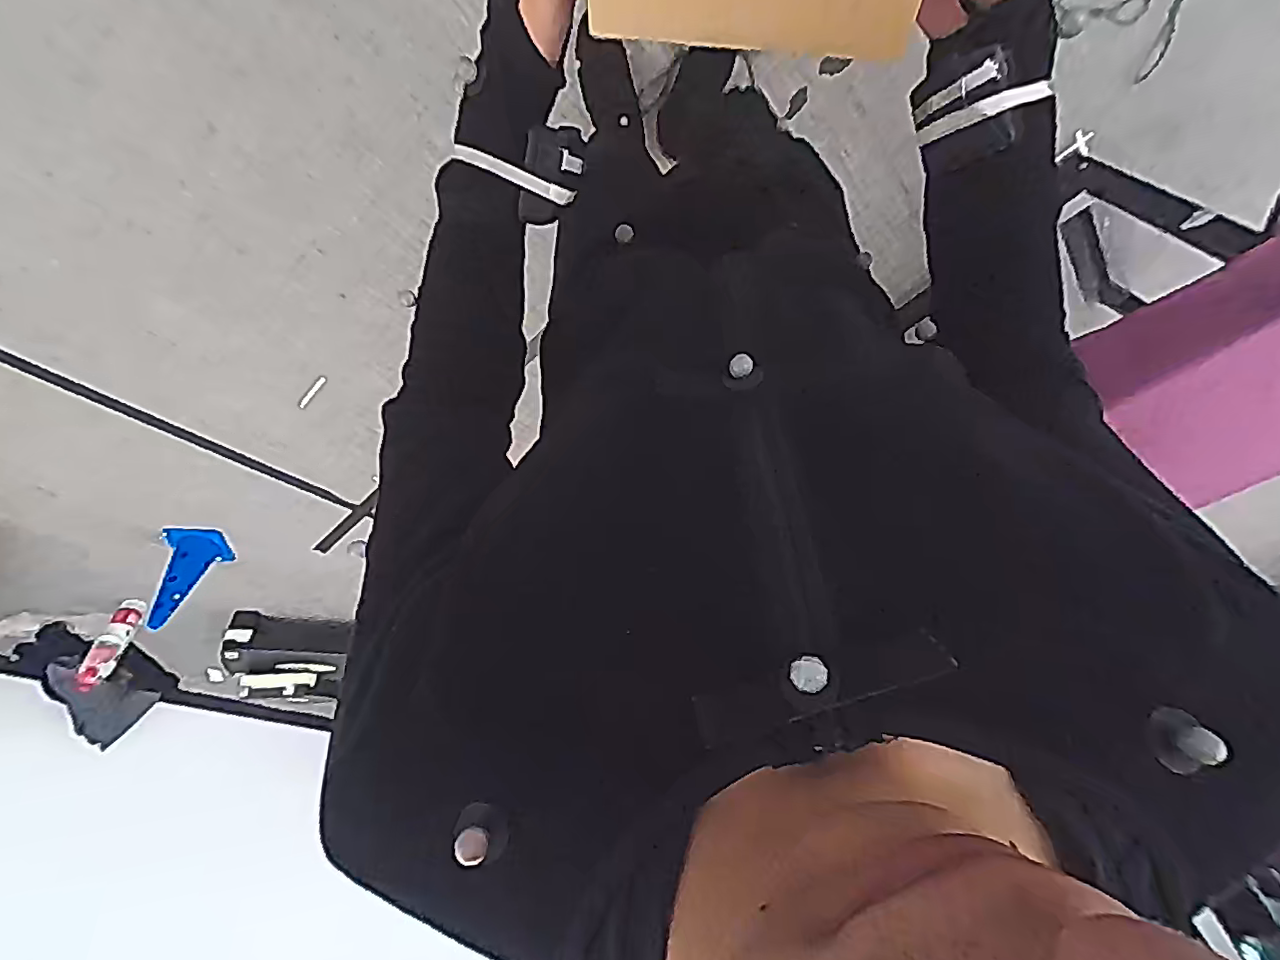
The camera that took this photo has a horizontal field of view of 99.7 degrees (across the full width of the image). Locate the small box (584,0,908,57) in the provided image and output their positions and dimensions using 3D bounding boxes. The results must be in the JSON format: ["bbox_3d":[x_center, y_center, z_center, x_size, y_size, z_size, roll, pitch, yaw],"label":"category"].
[{"bbox_3d":[0.069,-0.343,0.259,0.168,0.176,0.179,11,144,7],"label":"small box"}]
